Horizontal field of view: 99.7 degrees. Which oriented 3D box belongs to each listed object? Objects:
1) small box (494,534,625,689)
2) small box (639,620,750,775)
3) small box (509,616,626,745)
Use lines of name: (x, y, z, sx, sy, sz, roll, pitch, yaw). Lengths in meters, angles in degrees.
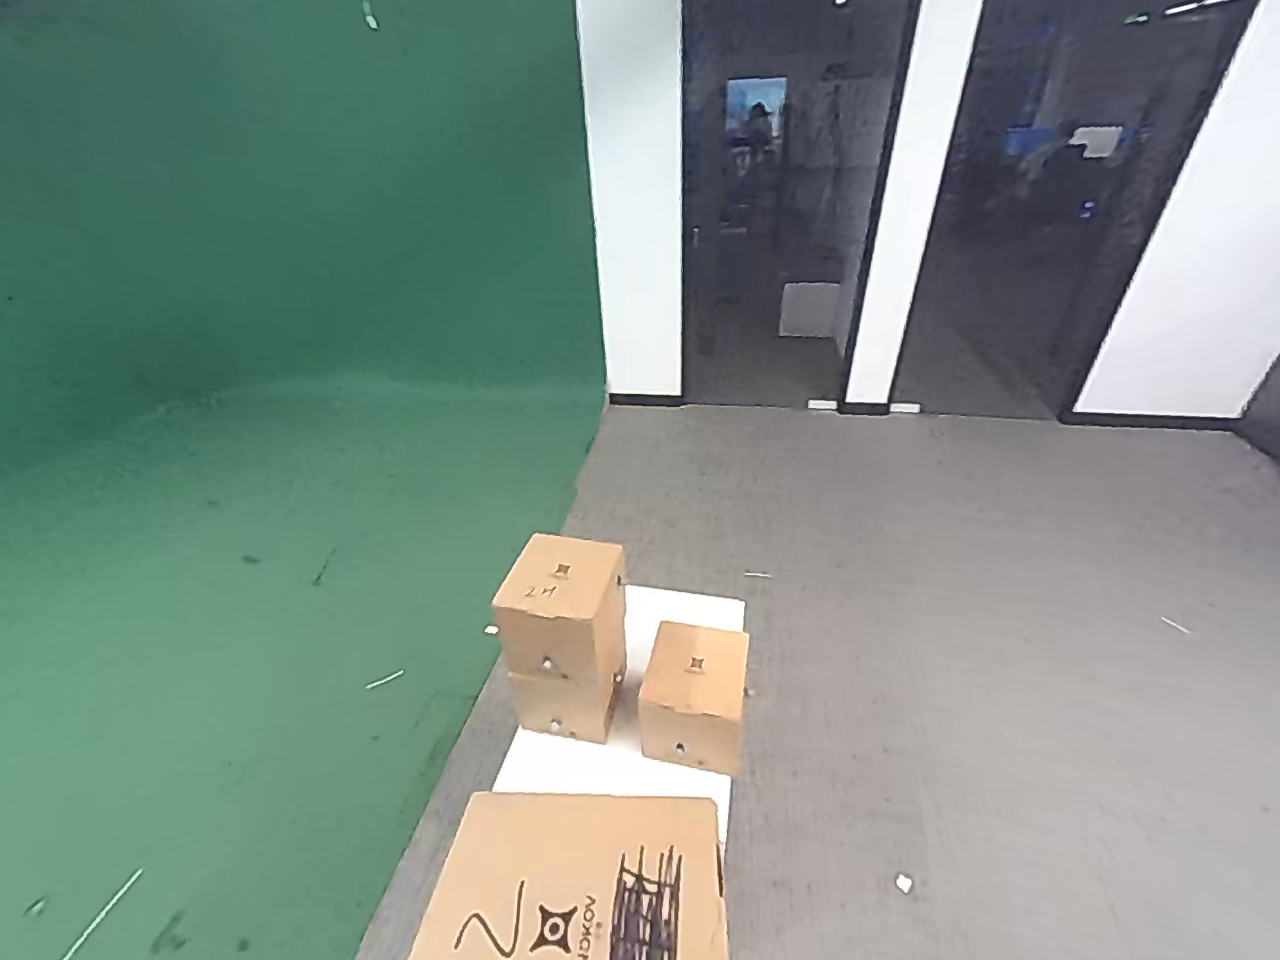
small box: (-0.125, 0.220, 0.919, 0.168, 0.176, 0.179, 6, 35, 12)
small box: (0.100, 0.382, 0.959, 0.168, 0.176, 0.179, 5, 35, 13)
small box: (-0.124, 0.357, 1.010, 0.168, 0.176, 0.179, 6, 36, 11)
